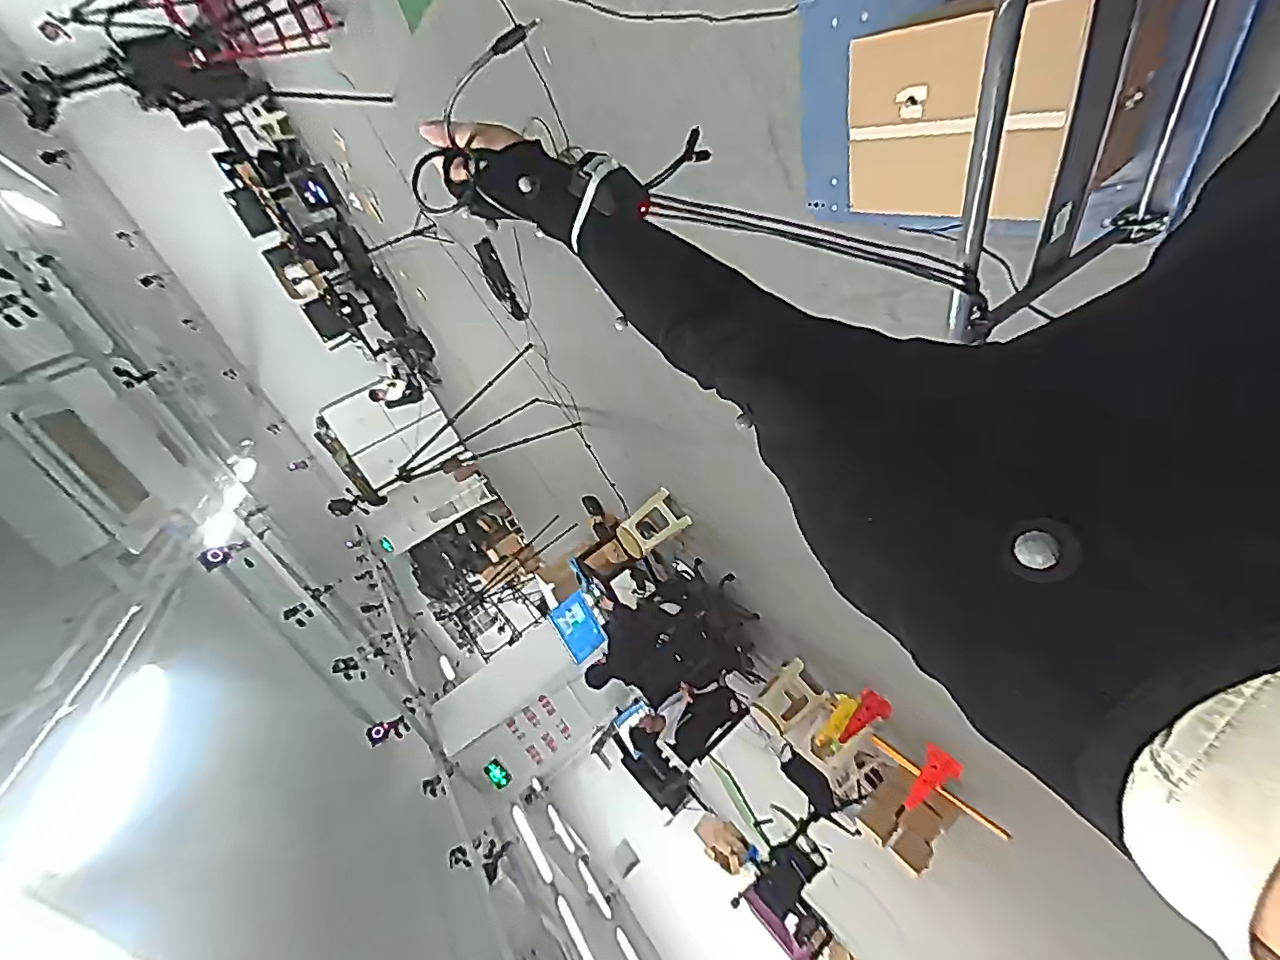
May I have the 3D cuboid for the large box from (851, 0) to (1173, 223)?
[{"bbox_3d":[0.675,-0.716,1.036,0.408,0.320,0.320,33,149,45],"label":"large box"}]
